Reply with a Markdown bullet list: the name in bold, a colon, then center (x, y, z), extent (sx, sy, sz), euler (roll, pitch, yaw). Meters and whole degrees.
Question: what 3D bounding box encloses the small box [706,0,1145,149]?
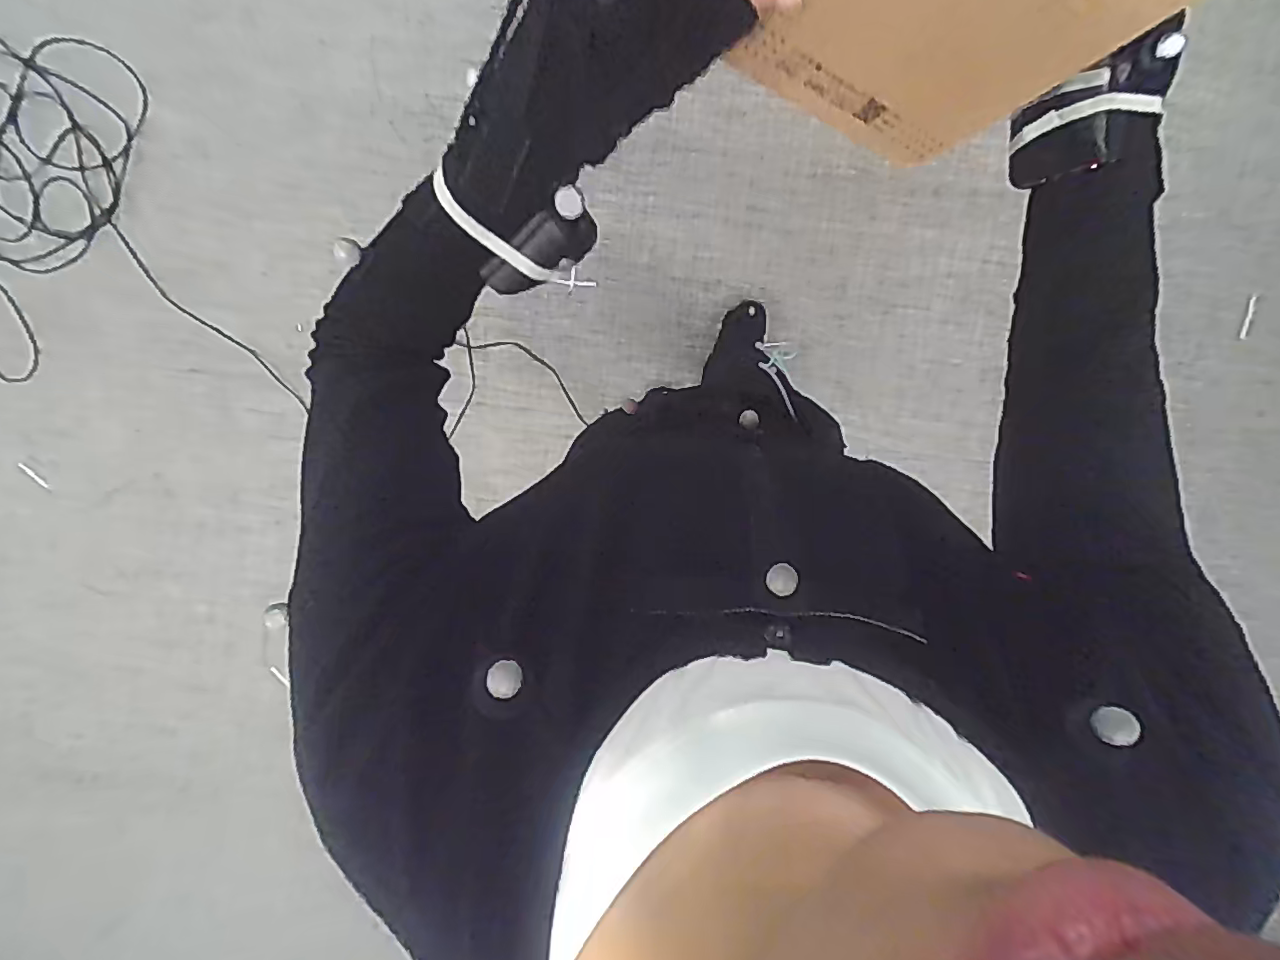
- **small box**: center (0.146, -0.310, 0.253), extent (0.168, 0.176, 0.179), euler (12, 84, -24)
